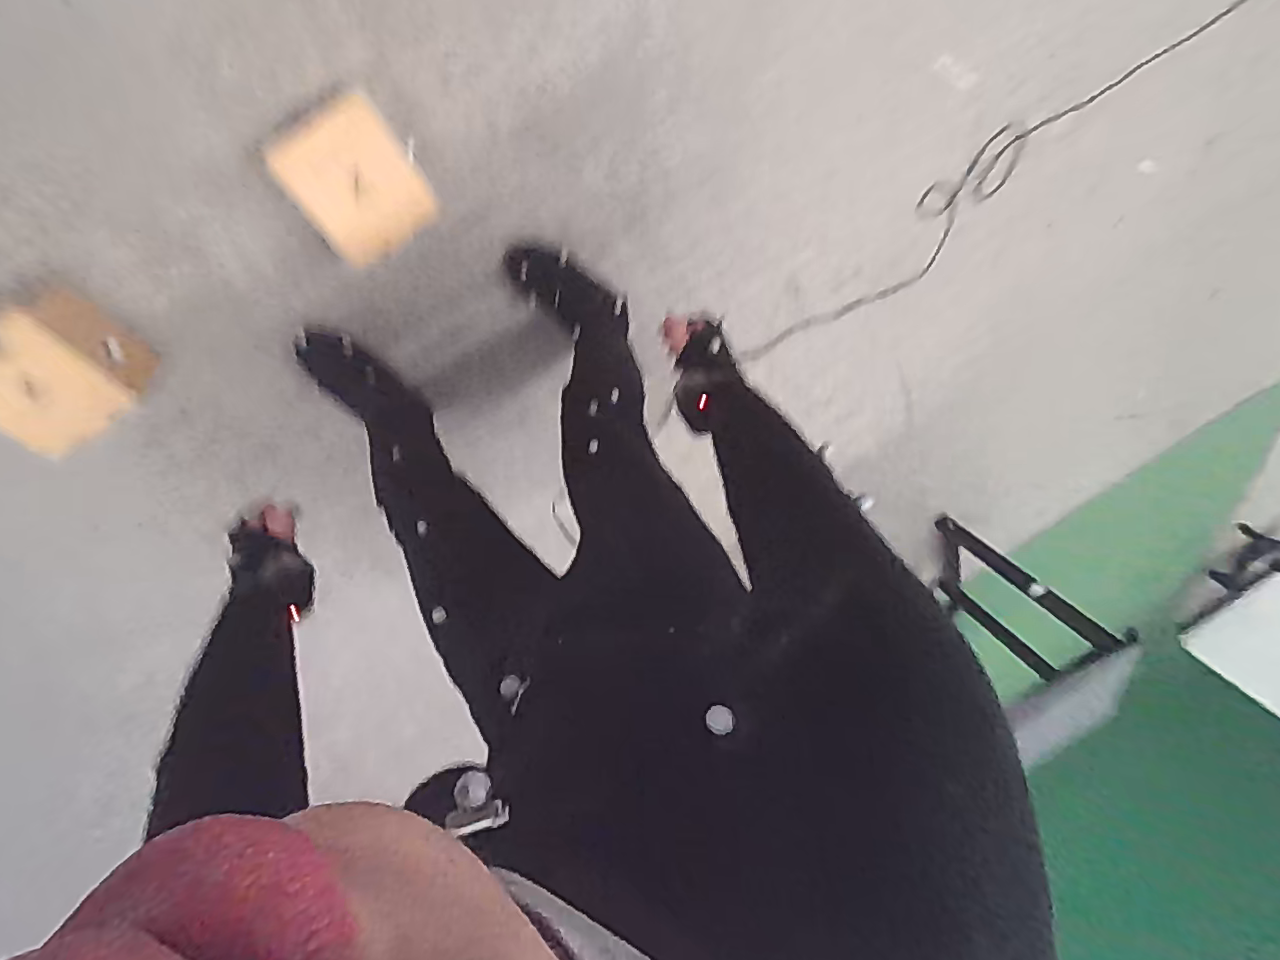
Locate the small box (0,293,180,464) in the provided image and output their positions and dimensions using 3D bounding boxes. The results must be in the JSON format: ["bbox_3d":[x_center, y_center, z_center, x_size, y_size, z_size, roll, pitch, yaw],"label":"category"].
[{"bbox_3d":[-0.892,-0.165,0.857,0.168,0.176,0.179,-34,130,-1],"label":"small box"}]

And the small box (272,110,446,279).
[{"bbox_3d":[-0.437,-0.459,0.867,0.168,0.176,0.179,-36,128,0],"label":"small box"}]
